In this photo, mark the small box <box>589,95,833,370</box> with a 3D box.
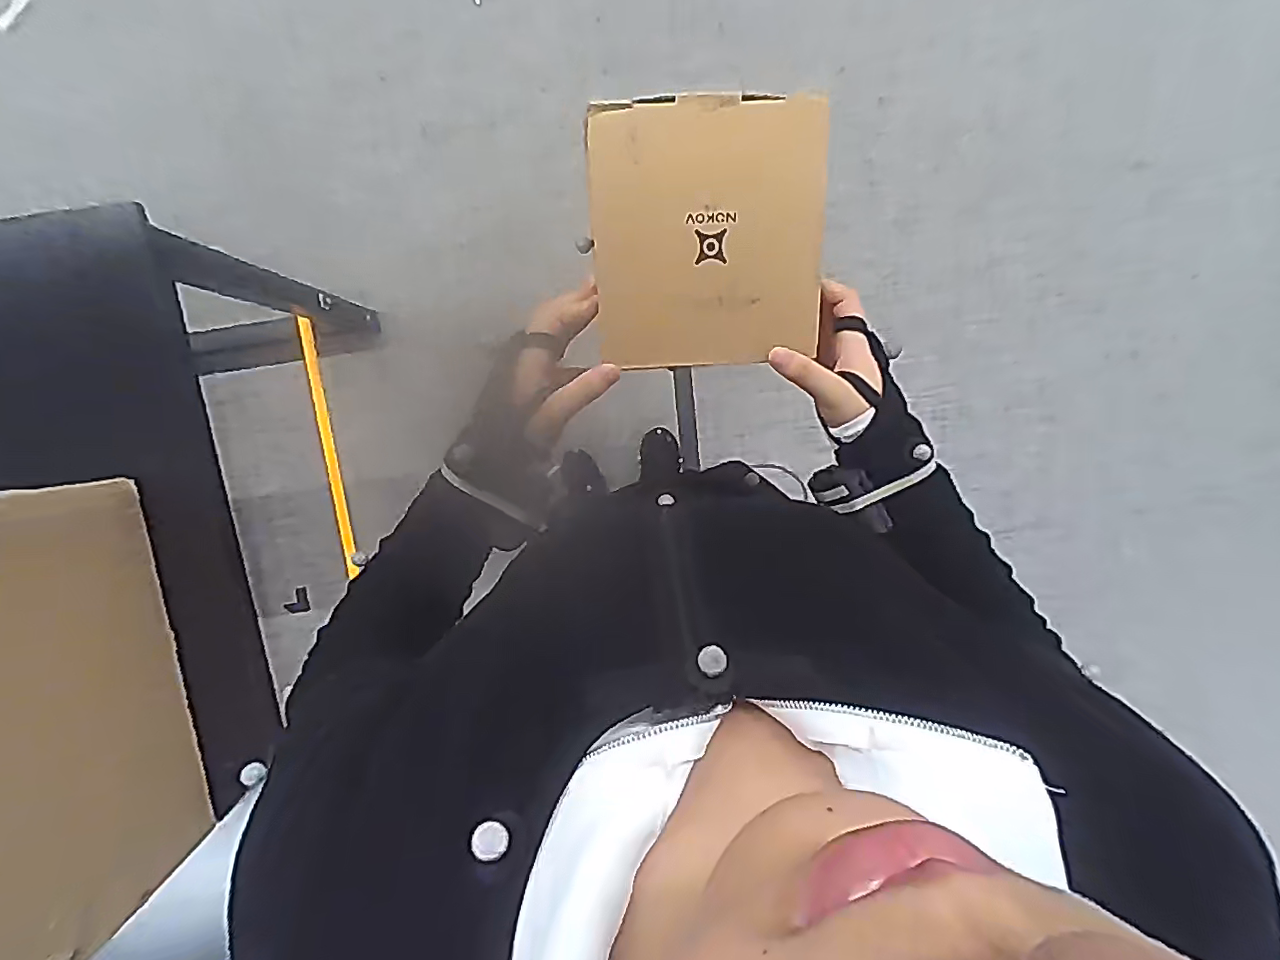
[{"bbox_3d":[0.044,-0.191,0.454,0.168,0.176,0.179,-4,109,-4],"label":"small box"}]
